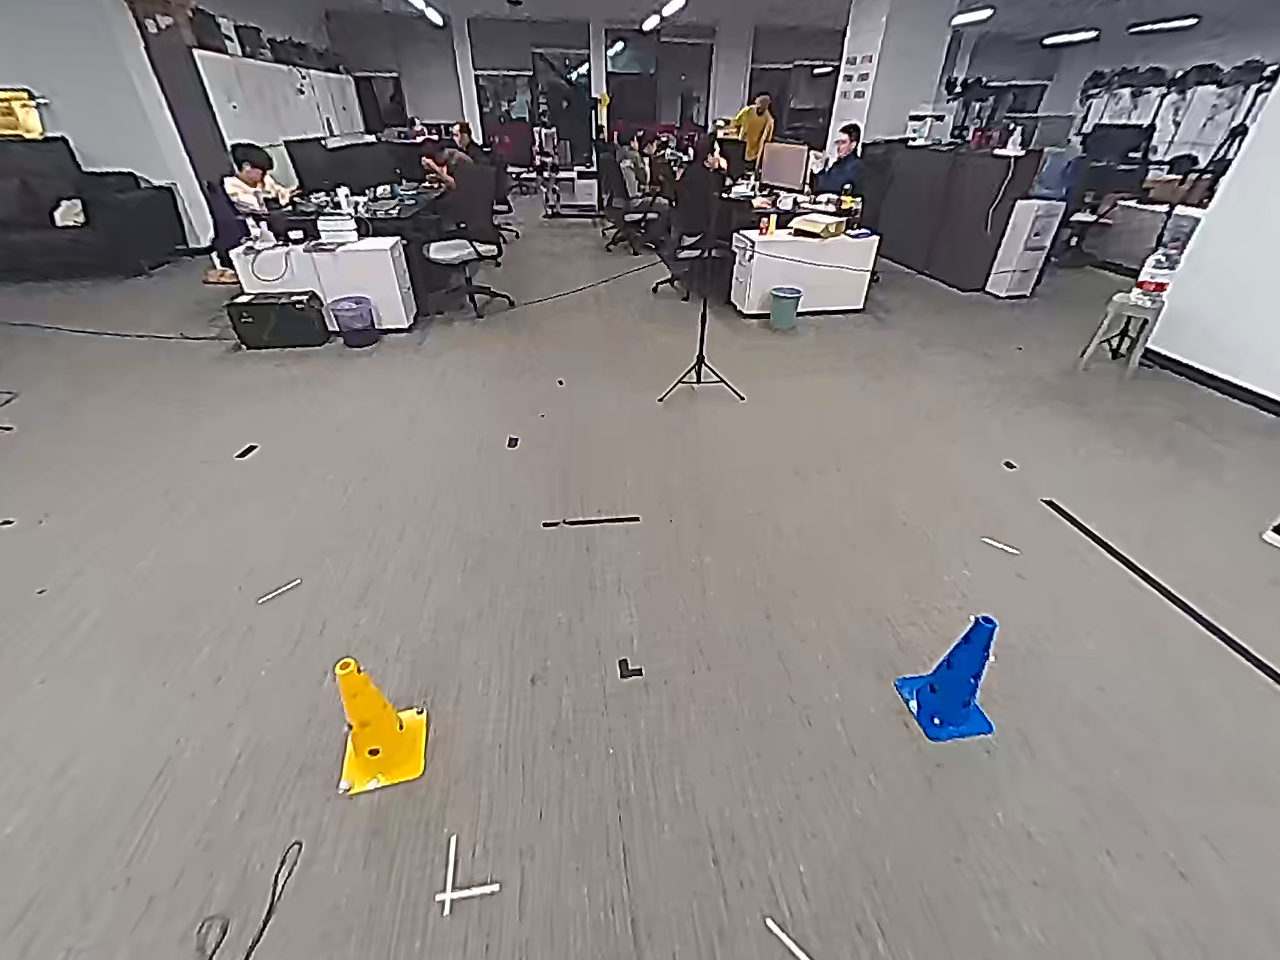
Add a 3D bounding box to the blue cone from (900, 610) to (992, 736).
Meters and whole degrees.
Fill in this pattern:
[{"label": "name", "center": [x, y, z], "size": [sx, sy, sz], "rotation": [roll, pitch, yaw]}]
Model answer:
[{"label": "blue cone", "center": [0.865, 0.499, 1.448], "size": [0.193, 0.380, 0.192], "rotation": [-4, 33, -6]}]
